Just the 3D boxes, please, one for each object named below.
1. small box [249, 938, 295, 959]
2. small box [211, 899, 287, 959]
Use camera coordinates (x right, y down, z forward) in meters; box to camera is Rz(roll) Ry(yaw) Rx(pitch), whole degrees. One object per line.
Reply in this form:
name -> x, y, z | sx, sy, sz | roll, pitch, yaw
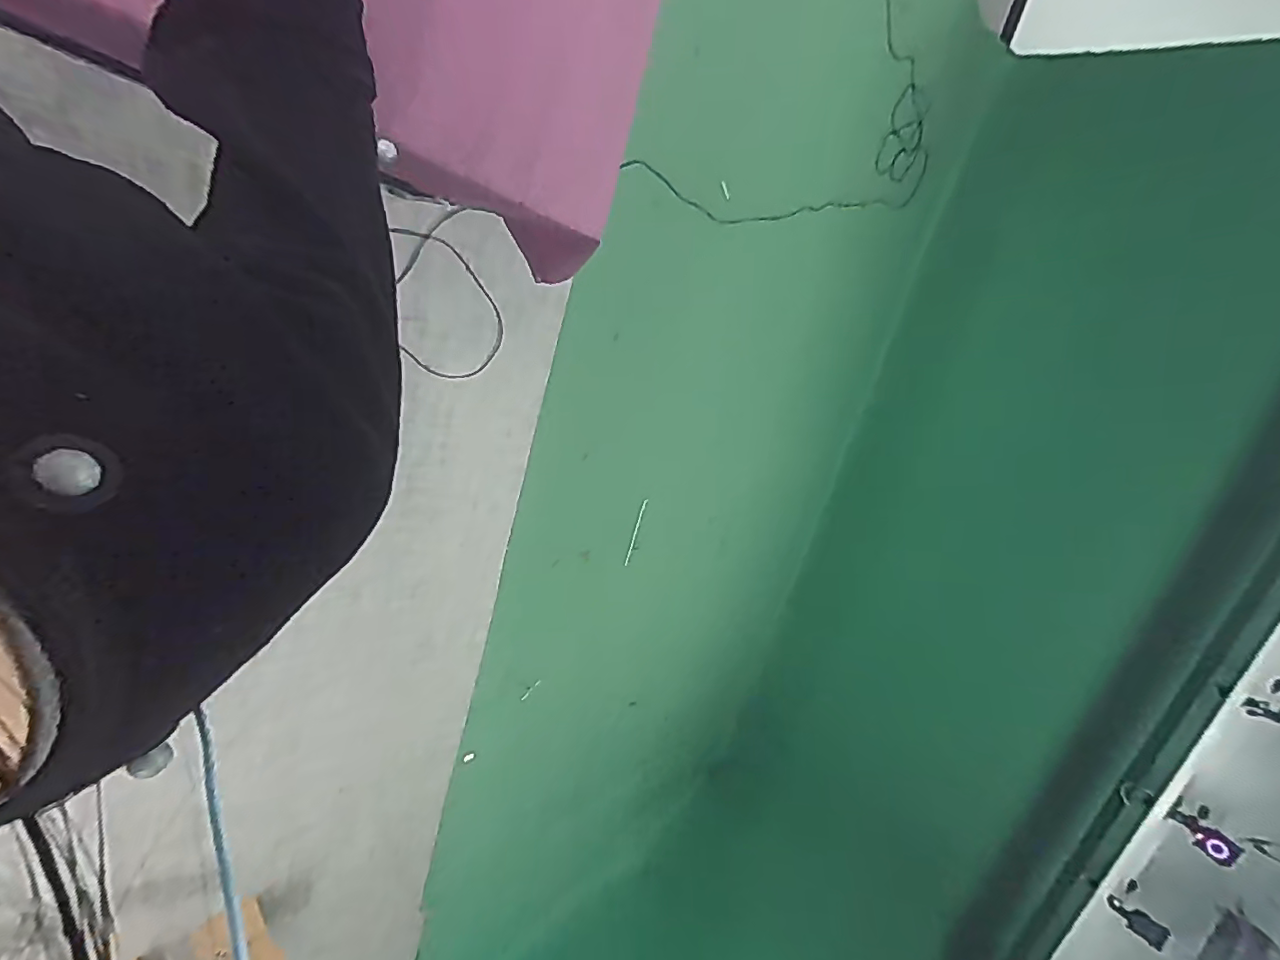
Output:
small box -> -1.177, 1.605, 1.682 | 0.179, 0.176, 0.168 | -8, 117, -49
small box -> -1.295, 1.557, 1.785 | 0.179, 0.176, 0.168 | -8, 117, -49
